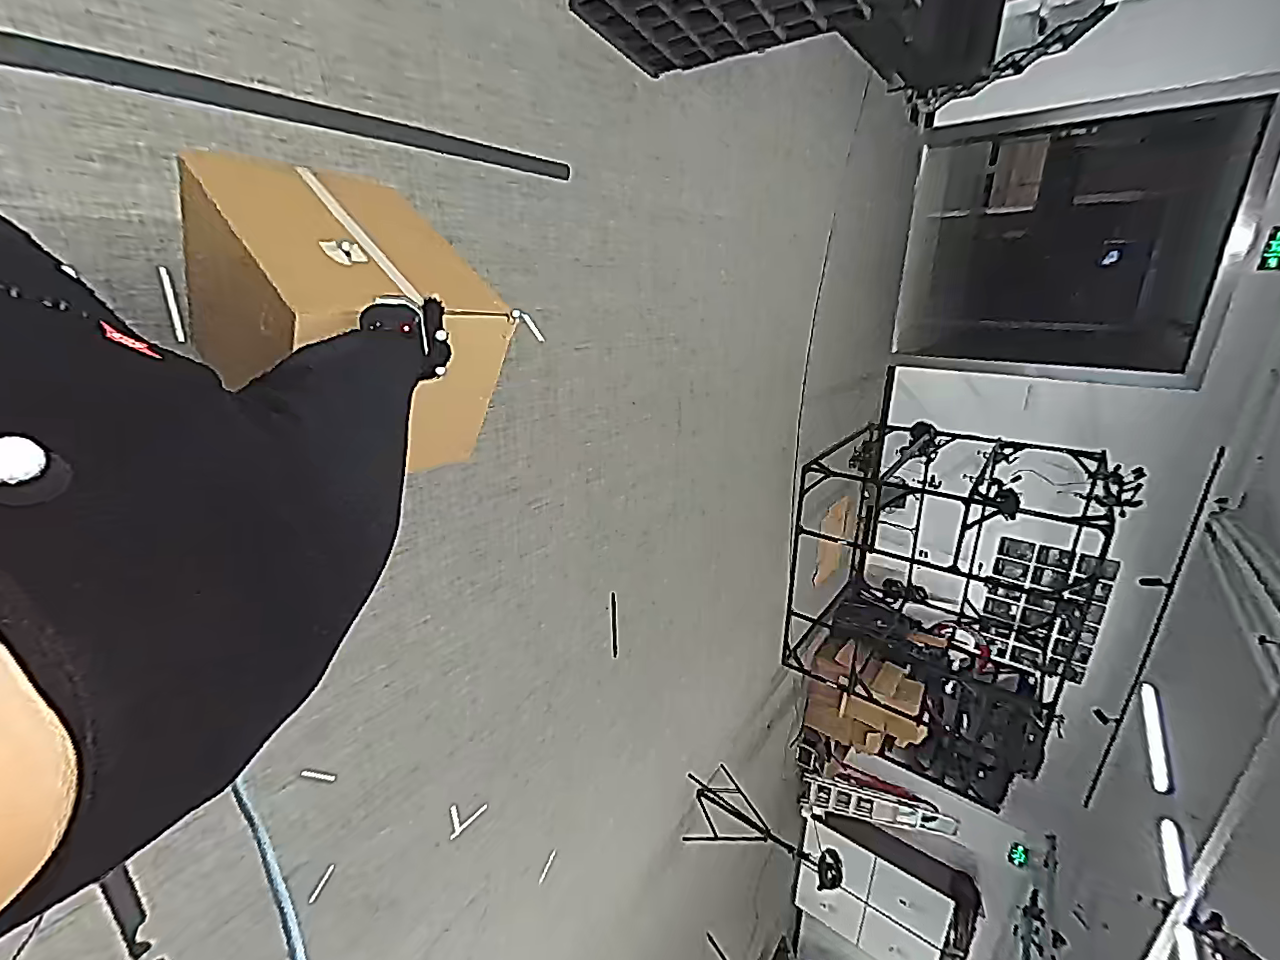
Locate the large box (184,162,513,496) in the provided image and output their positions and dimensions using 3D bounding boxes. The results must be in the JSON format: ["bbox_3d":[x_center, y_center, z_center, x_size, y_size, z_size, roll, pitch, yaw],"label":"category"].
[{"bbox_3d":[-0.489,-0.242,0.893,0.320,0.408,0.320,-19,150,-48],"label":"large box"}]
